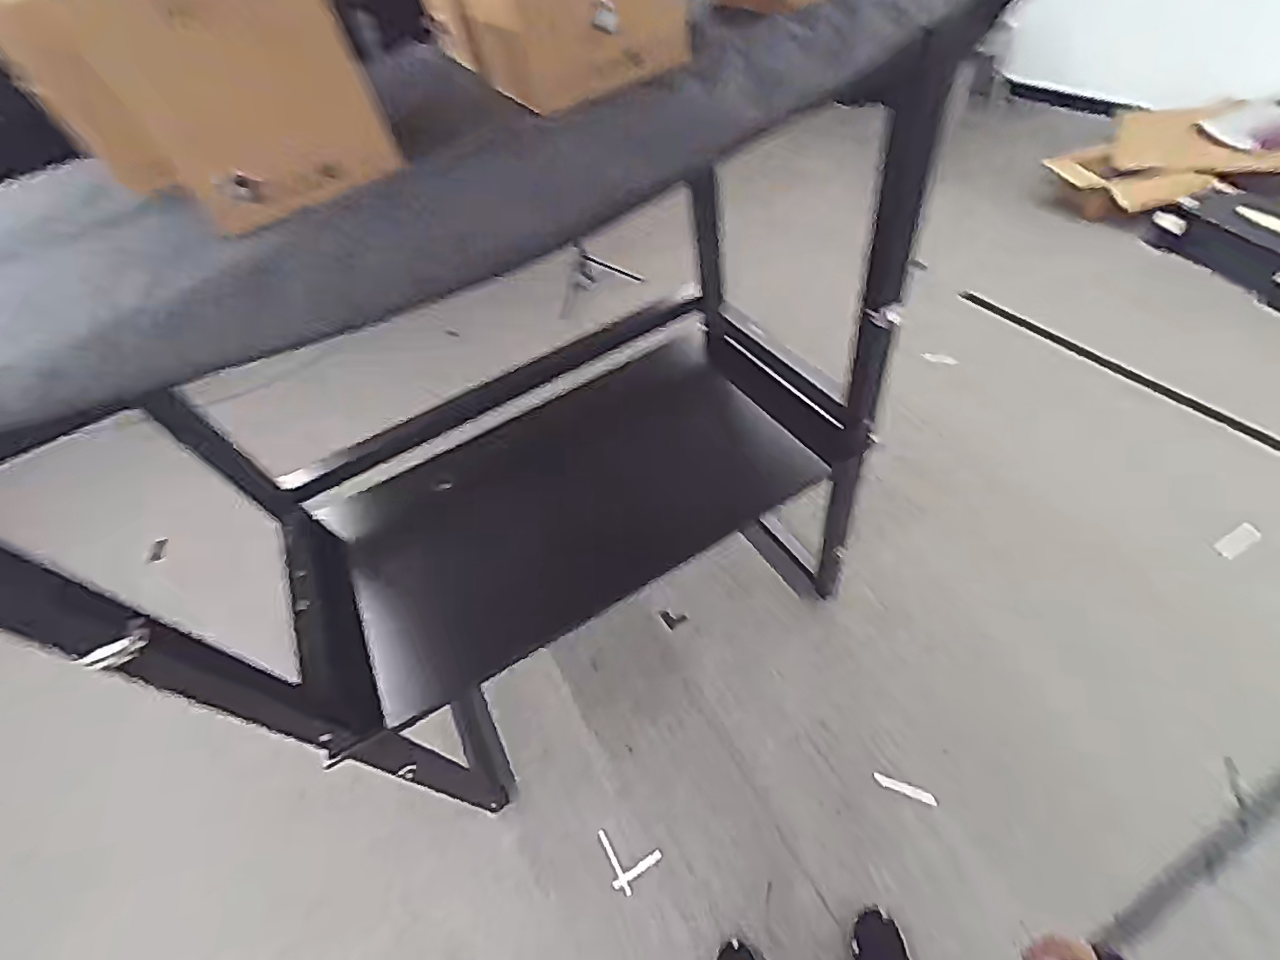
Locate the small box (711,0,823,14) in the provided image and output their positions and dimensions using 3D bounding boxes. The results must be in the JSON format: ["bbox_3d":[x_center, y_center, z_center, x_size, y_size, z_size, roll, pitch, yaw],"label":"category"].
[{"bbox_3d":[0.171,-0.643,0.592,0.168,0.176,0.179,-27,50,-8],"label":"small box"}]

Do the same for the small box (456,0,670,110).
[{"bbox_3d":[-0.088,-0.489,0.525,0.168,0.176,0.179,-28,50,-9],"label":"small box"}]

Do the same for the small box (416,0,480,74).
[{"bbox_3d":[-0.198,-0.650,0.683,0.179,0.176,0.168,-28,51,-10],"label":"small box"}]

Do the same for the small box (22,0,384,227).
[{"bbox_3d":[-0.350,-0.347,0.472,0.168,0.176,0.179,-28,50,-11],"label":"small box"}]
